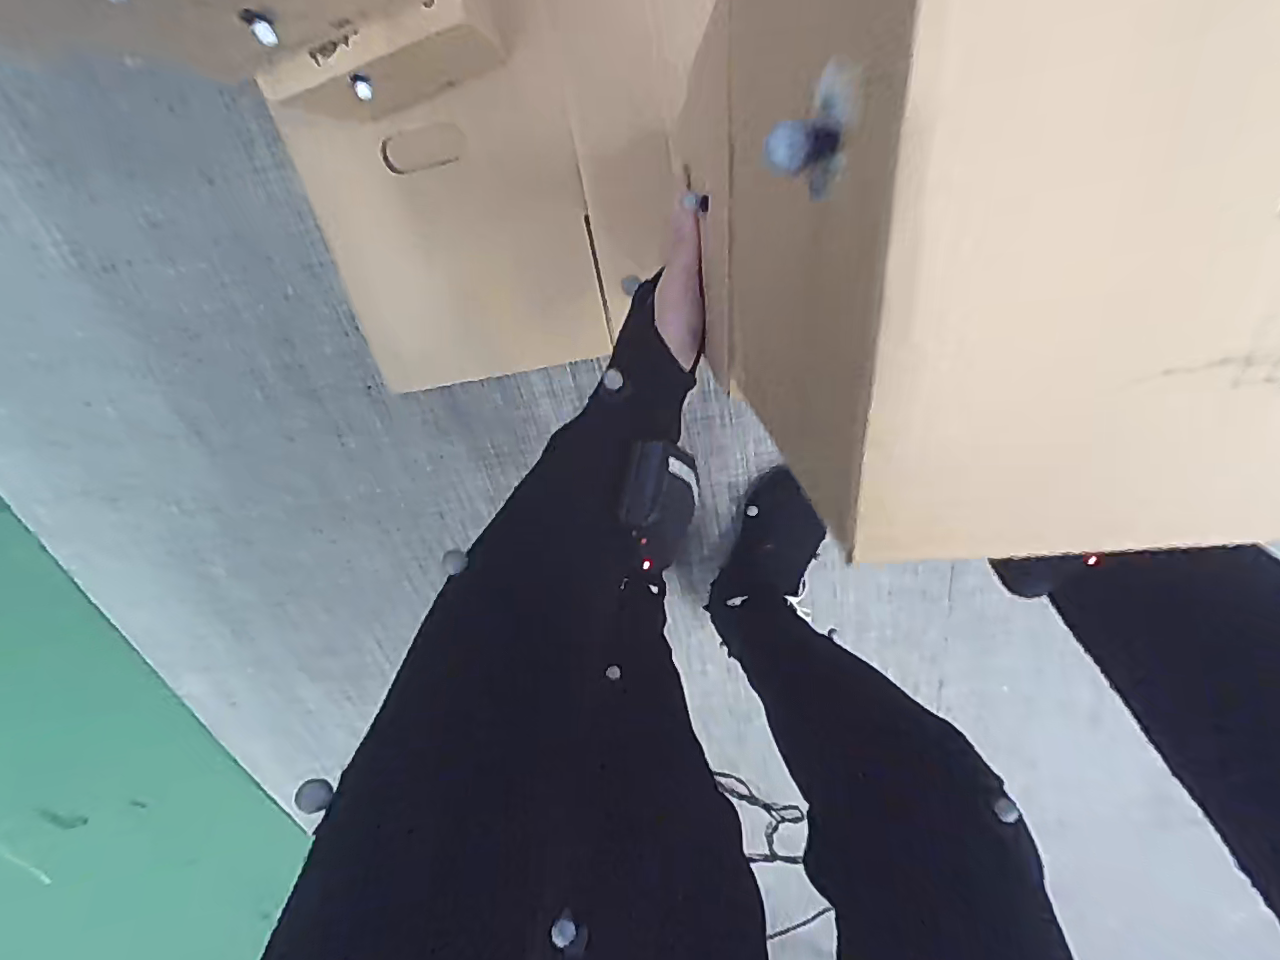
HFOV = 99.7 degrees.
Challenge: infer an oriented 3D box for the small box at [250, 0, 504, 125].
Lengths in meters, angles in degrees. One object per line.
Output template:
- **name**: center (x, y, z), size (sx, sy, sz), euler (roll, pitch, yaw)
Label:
- **small box**: center (-0.228, -0.413, 0.427), size (0.168, 0.176, 0.179), euler (-17, 117, 7)

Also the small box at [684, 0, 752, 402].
- **small box**: center (0.115, -0.155, 0.312), size (0.168, 0.176, 0.179), euler (-4, 113, 1)

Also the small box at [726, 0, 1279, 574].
- **small box**: center (0.119, -0.094, 0.160), size (0.168, 0.176, 0.179), euler (-3, 115, 2)
